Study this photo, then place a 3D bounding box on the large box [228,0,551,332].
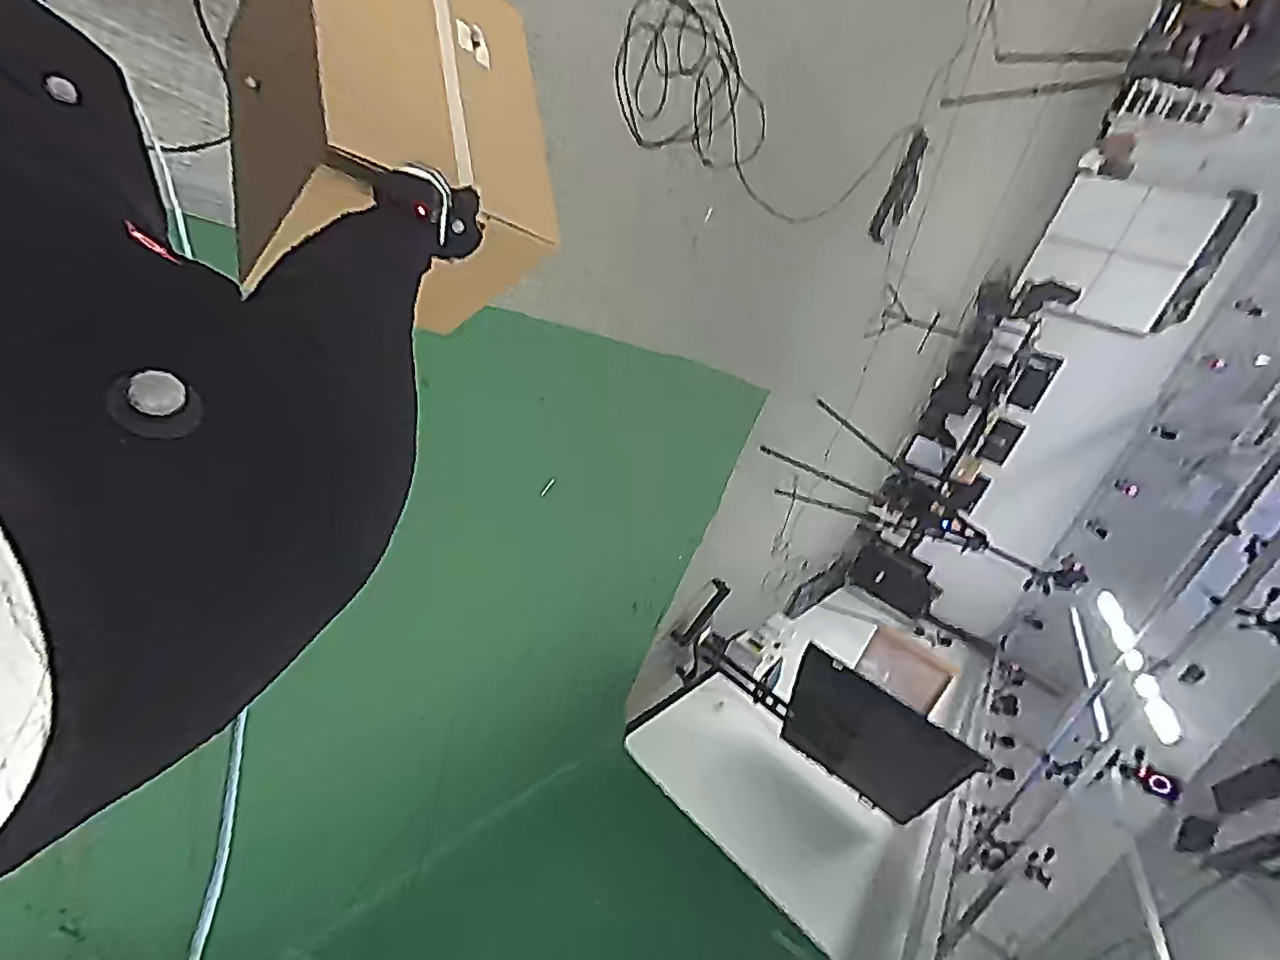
[{"bbox_3d":[-0.379,-0.488,0.806,0.320,0.320,0.408,0,75,-50],"label":"large box"}]
